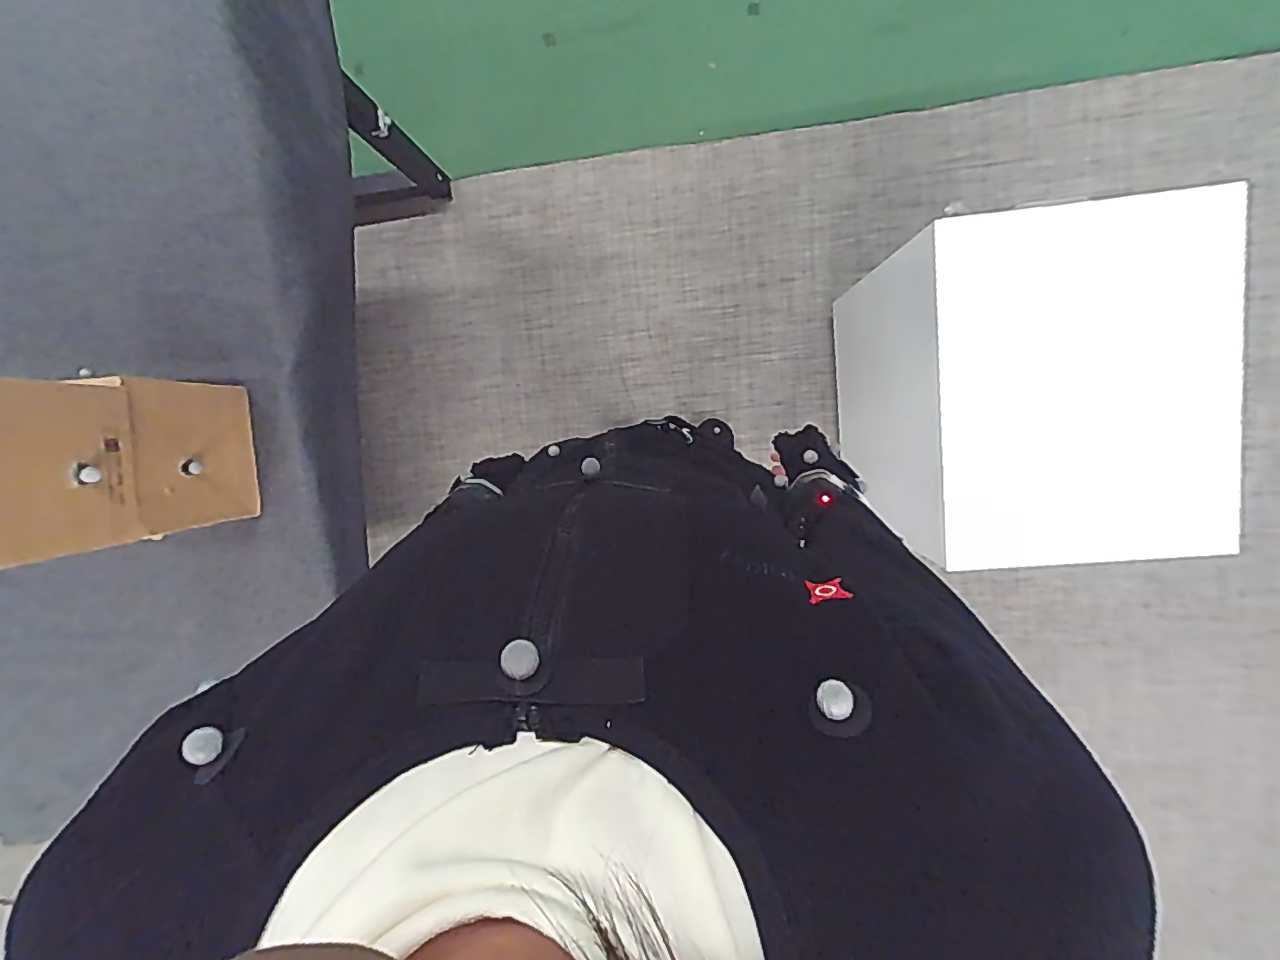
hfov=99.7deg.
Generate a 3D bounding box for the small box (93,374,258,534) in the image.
[{"bbox_3d":[-0.614,-0.036,0.669,0.168,0.176,0.179,-2,97,6],"label":"small box"}]

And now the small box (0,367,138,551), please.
[{"bbox_3d":[-0.636,-0.017,0.507,0.179,0.176,0.168,-2,96,8],"label":"small box"}]
